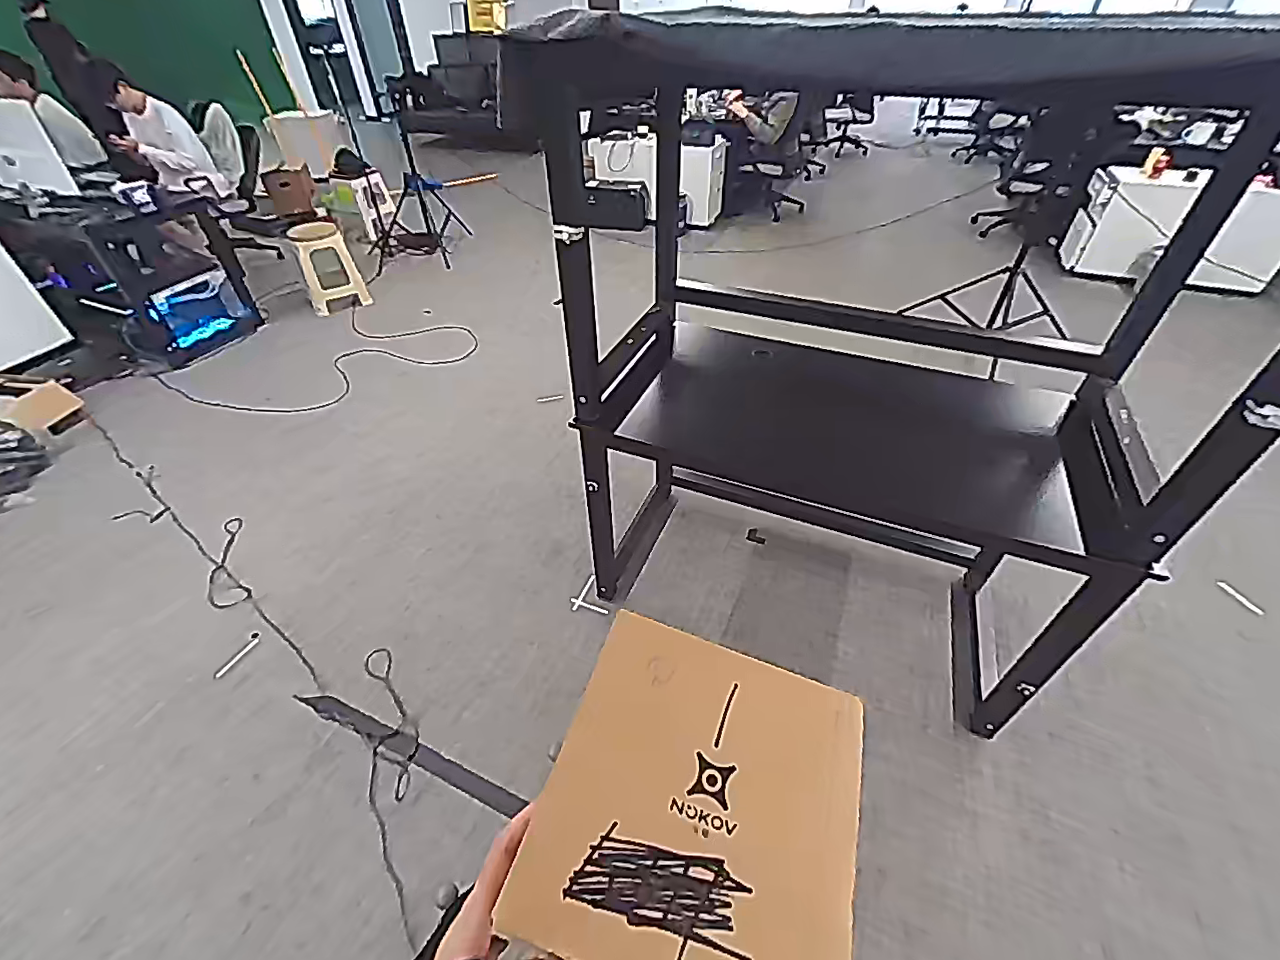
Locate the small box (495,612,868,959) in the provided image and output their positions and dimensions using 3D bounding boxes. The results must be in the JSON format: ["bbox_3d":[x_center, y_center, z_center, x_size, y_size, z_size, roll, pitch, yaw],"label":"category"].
[{"bbox_3d":[0.028,0.224,0.351,0.168,0.176,0.179,19,48,8],"label":"small box"}]
